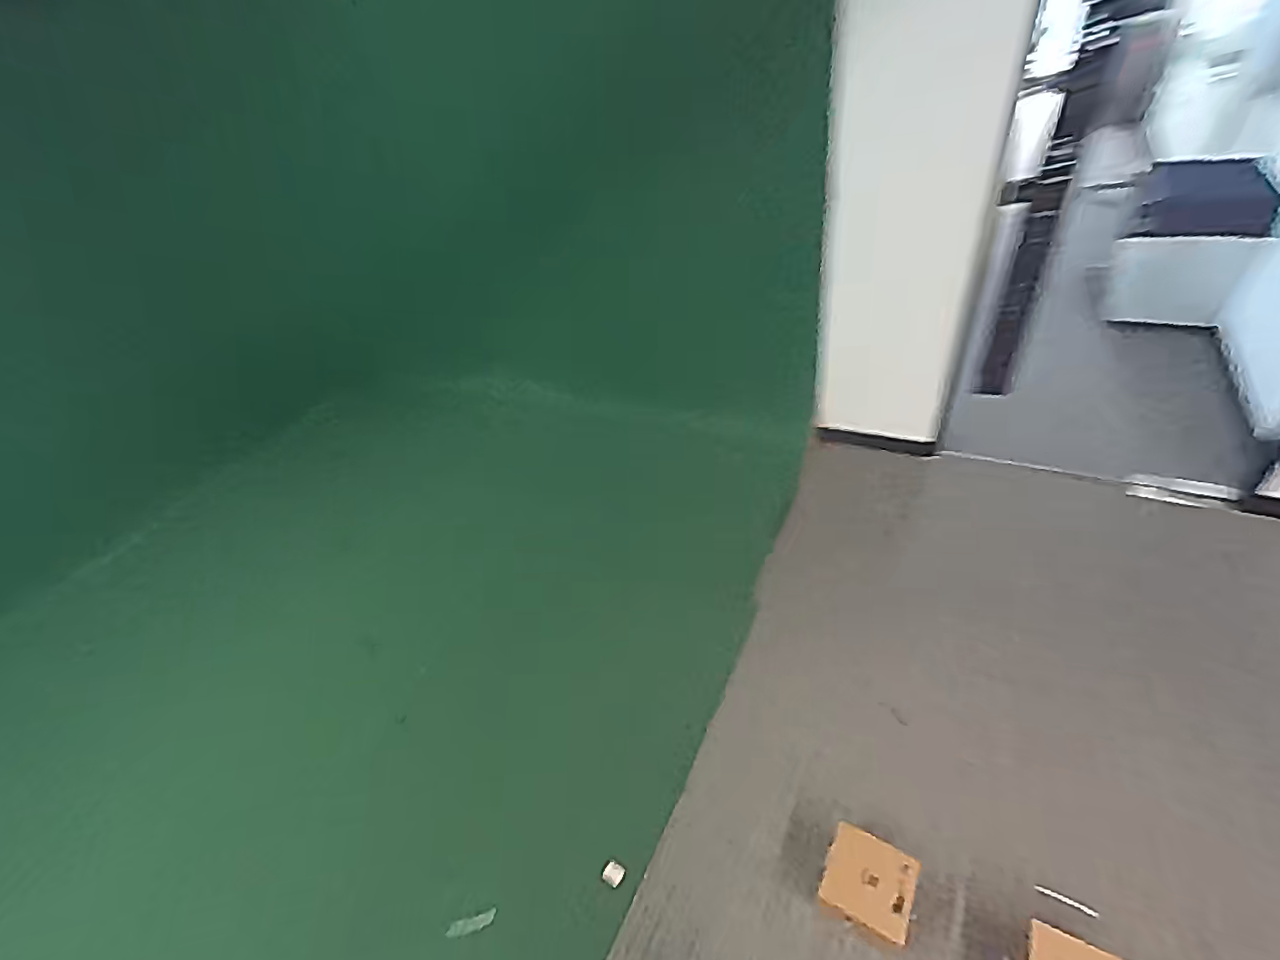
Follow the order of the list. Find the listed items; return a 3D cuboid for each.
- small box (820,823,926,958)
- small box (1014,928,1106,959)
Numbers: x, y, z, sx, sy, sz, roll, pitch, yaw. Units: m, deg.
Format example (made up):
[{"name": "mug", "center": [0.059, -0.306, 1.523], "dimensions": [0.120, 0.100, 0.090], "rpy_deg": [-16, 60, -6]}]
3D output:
[{"name": "small box", "center": [0.514, 0.920, 1.208], "dimensions": [0.179, 0.176, 0.168], "rpy_deg": [17, 50, 30]}, {"name": "small box", "center": [0.835, 1.008, 1.029], "dimensions": [0.179, 0.176, 0.168], "rpy_deg": [14, 48, 28]}]
